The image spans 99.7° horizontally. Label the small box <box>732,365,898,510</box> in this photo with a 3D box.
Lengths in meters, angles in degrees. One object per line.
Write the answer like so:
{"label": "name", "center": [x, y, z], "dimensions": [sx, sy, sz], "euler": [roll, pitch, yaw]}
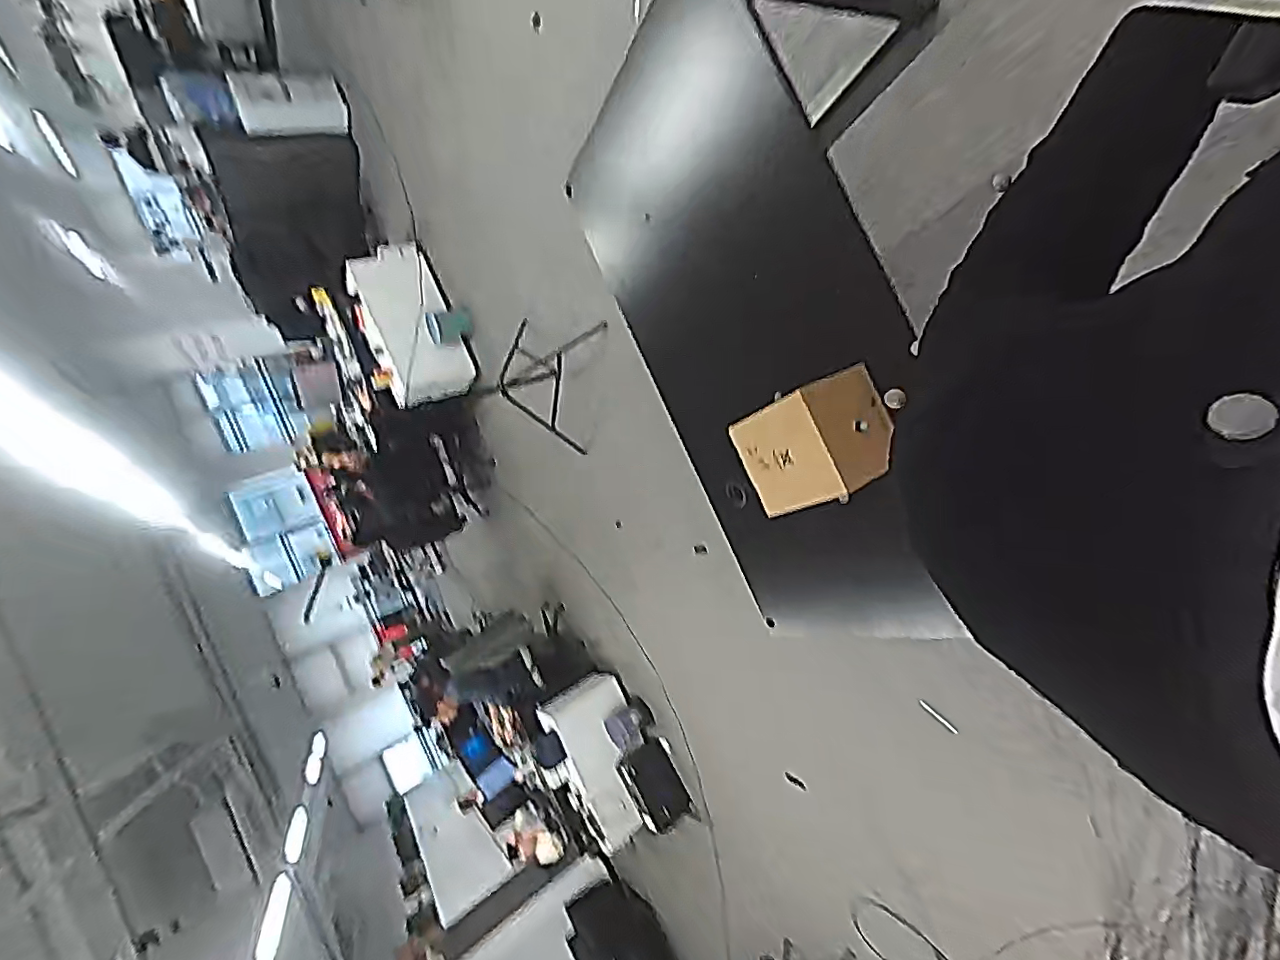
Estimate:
{"label": "small box", "center": [0.292, -0.070, 0.891], "dimensions": [0.179, 0.176, 0.168], "euler": [-29, 86, 60]}
